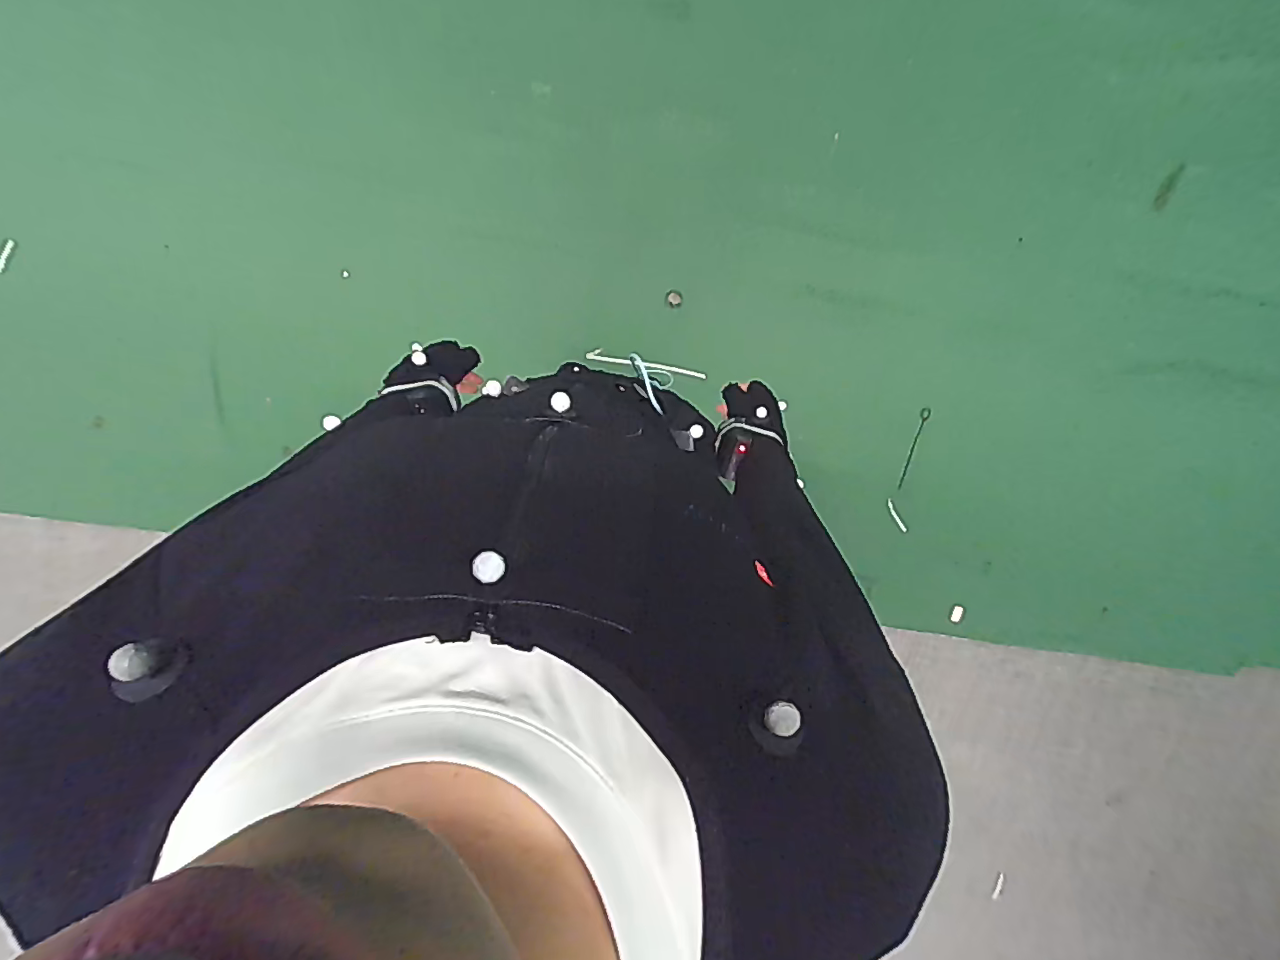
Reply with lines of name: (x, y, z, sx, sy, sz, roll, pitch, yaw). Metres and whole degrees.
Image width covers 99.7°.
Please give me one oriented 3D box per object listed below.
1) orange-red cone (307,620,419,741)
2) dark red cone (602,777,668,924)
orange-red cone: (-0.754, 0.554, 1.428, 0.198, 0.360, 0.199, 9, 103, -2)
dark red cone: (-0.015, 1.045, 1.524, 0.202, 0.394, 0.201, 3, 101, -1)
